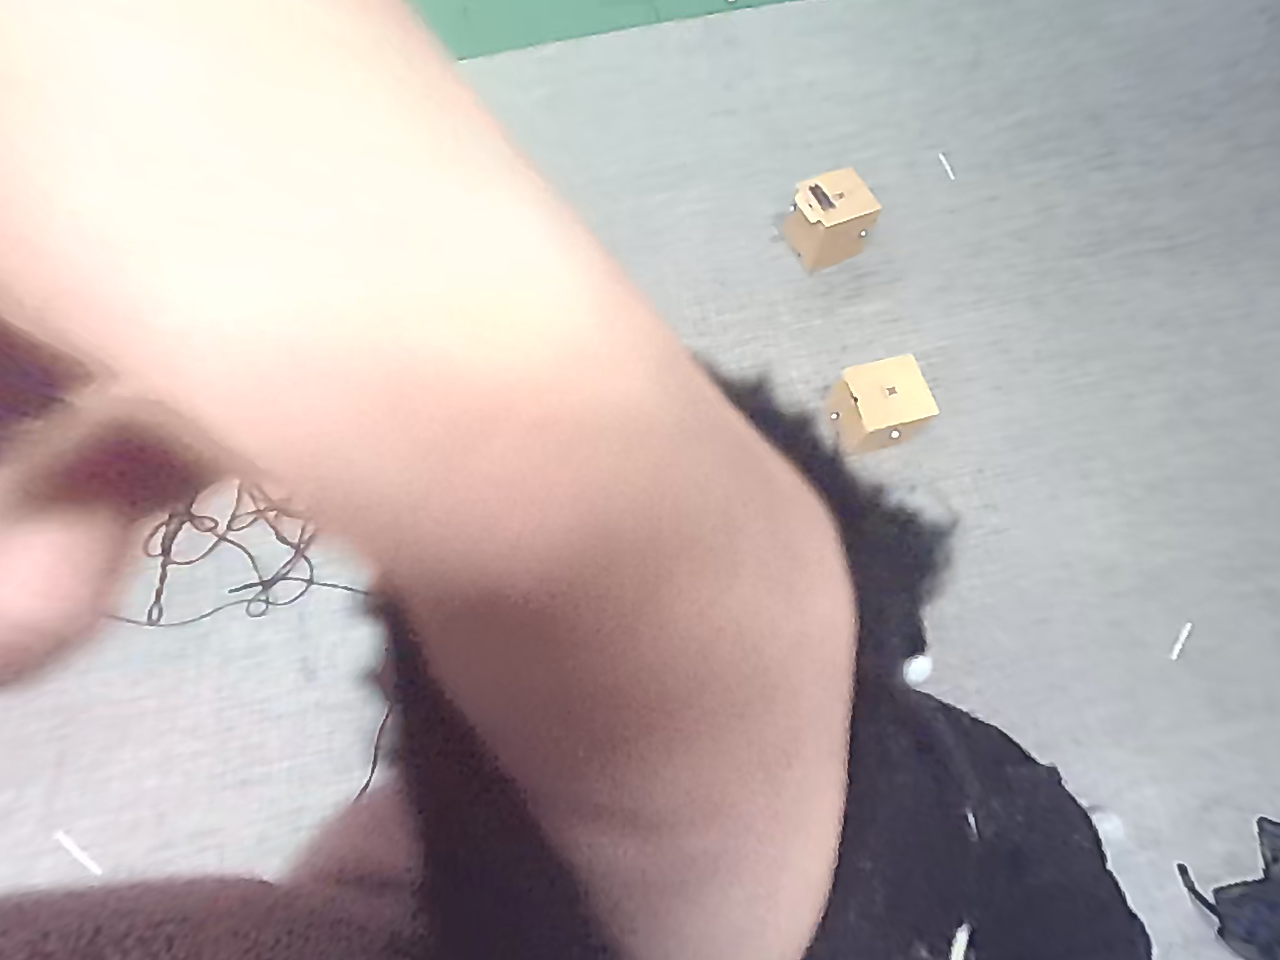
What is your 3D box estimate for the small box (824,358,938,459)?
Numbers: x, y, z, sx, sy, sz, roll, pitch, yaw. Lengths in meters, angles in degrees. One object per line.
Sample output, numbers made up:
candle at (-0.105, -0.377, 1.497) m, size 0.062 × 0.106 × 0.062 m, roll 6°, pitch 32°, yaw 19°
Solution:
small box at (0.575, -0.168, 1.314) m, size 0.179 × 0.176 × 0.168 m, roll -14°, pitch 71°, yaw -2°
